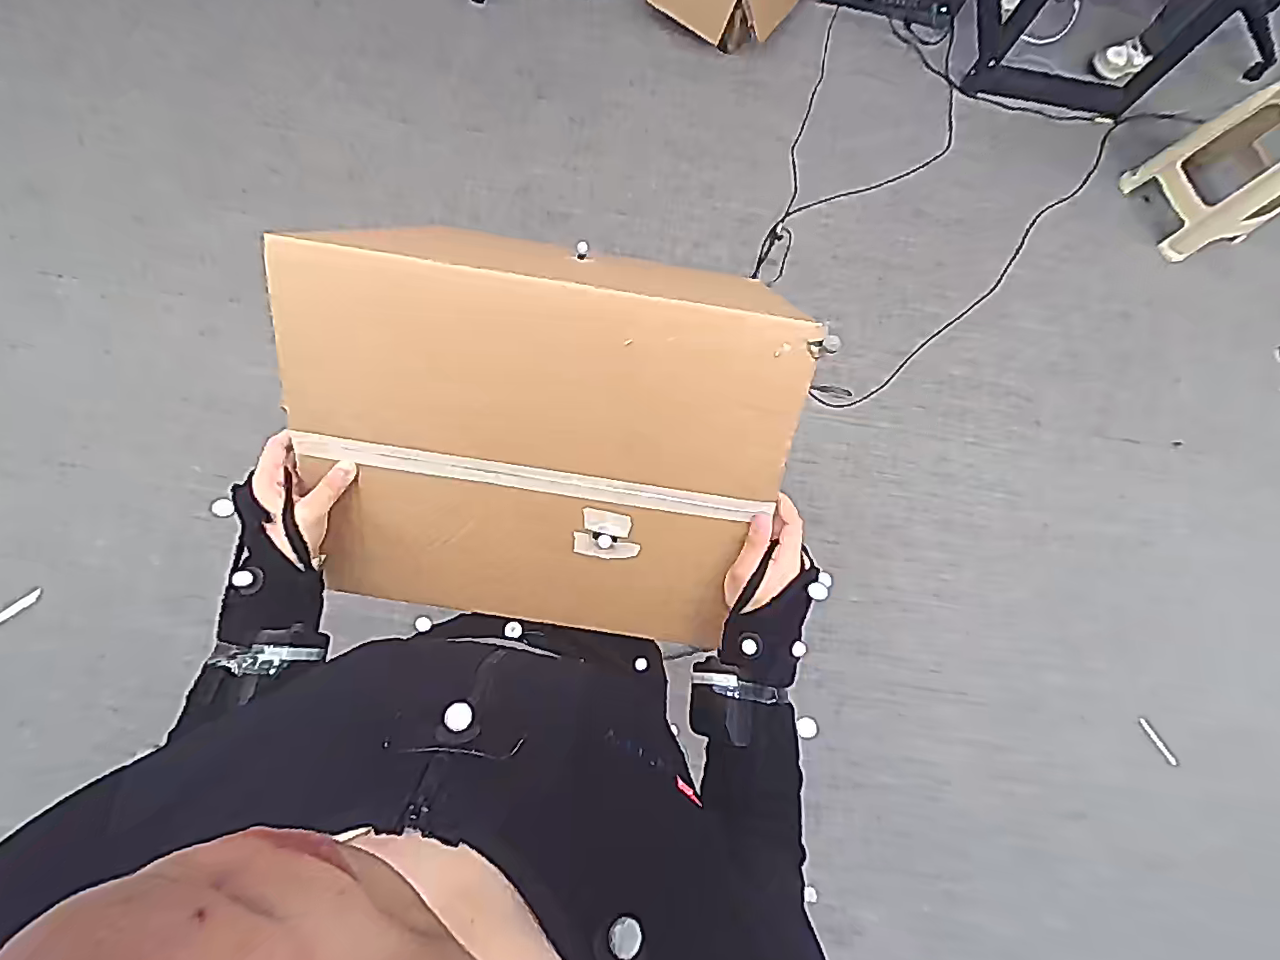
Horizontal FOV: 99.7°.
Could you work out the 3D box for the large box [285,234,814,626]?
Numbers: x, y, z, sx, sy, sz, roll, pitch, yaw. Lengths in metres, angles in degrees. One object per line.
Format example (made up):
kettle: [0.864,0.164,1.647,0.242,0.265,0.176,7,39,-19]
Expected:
large box: [-0.080,-0.079,0.599,0.408,0.320,0.320,8,118,-2]
